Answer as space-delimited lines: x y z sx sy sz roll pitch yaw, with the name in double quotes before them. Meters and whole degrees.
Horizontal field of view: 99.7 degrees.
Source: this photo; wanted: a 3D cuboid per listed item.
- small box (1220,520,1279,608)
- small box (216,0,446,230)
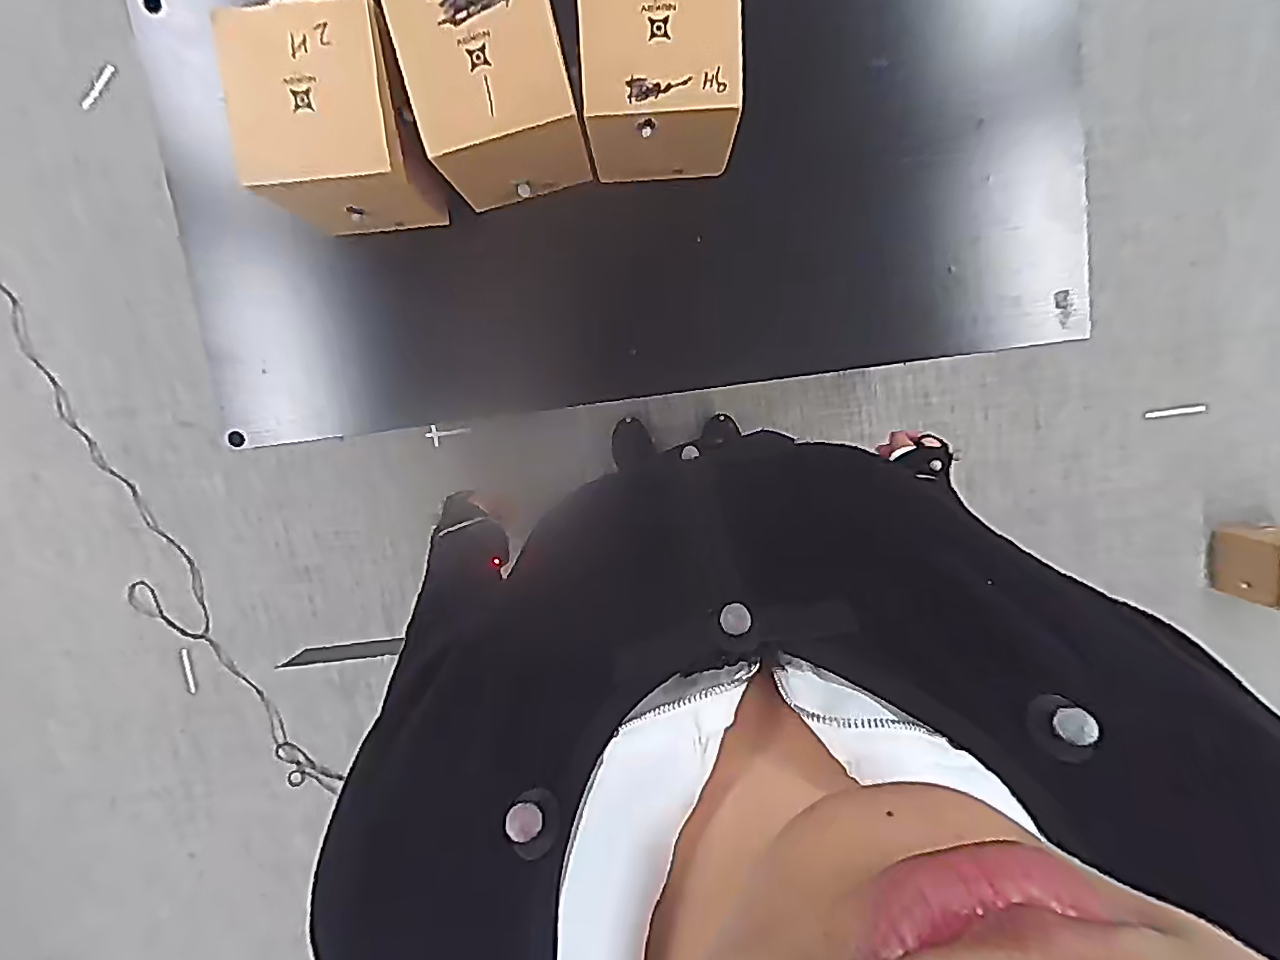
"small box" 1.652 0.213 1.385 0.168 0.176 0.179 -8 96 2
"small box" -0.348 -0.413 0.645 0.168 0.176 0.179 -5 97 2
